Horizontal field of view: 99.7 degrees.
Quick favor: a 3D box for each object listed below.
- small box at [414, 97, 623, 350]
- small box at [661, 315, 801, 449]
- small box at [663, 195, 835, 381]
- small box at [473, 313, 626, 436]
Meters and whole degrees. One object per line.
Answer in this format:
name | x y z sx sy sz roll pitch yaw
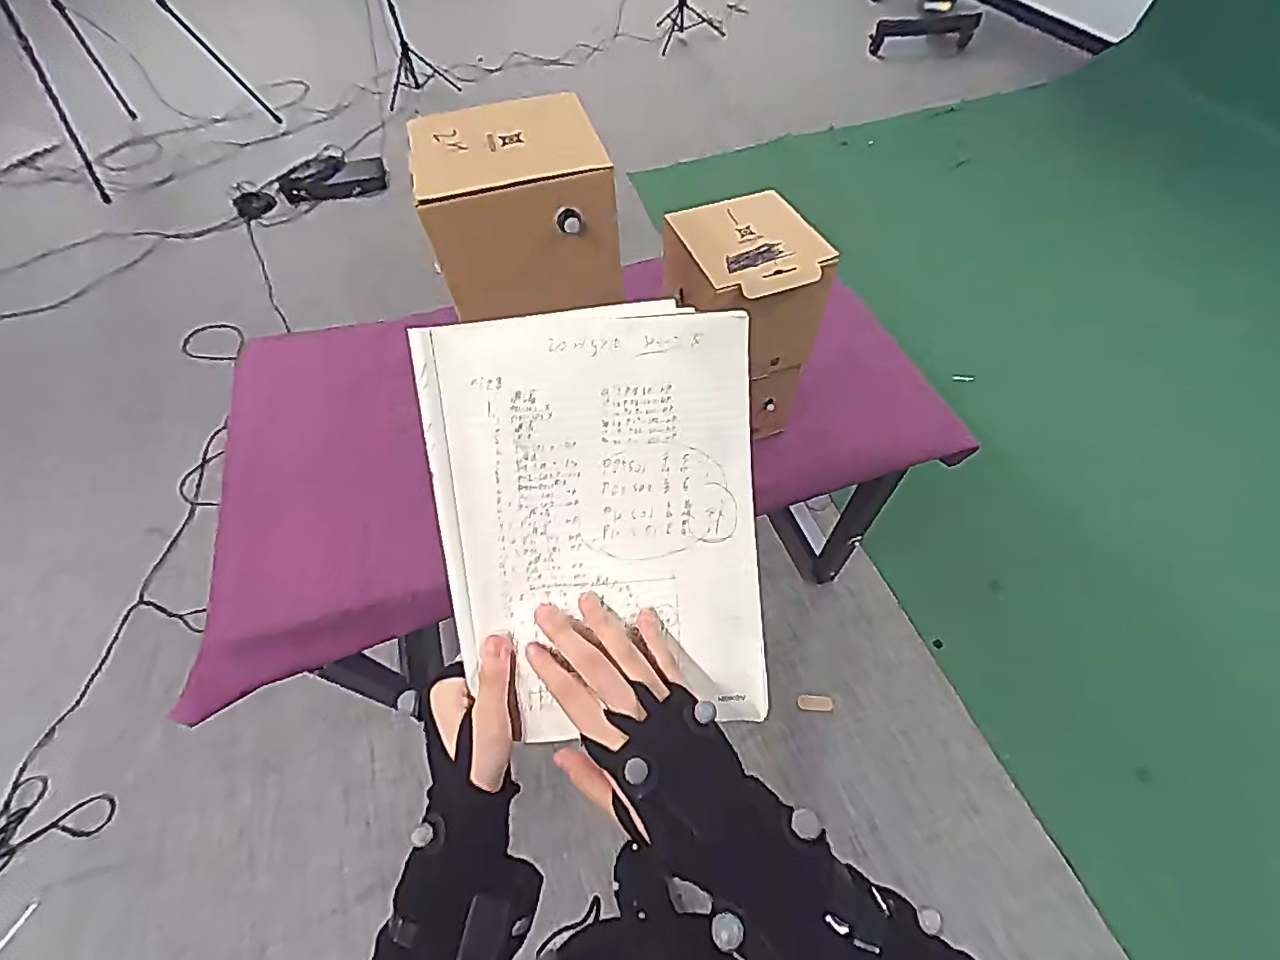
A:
small box | -0.119 -0.266 0.573 0.179 0.176 0.168 -15 56 -6
small box | 0.139 -0.169 0.892 0.168 0.176 0.179 -16 56 -9
small box | 0.139 -0.259 0.754 0.168 0.176 0.179 -17 56 -9
small box | -0.122 -0.177 0.713 0.168 0.176 0.179 -16 56 -8
